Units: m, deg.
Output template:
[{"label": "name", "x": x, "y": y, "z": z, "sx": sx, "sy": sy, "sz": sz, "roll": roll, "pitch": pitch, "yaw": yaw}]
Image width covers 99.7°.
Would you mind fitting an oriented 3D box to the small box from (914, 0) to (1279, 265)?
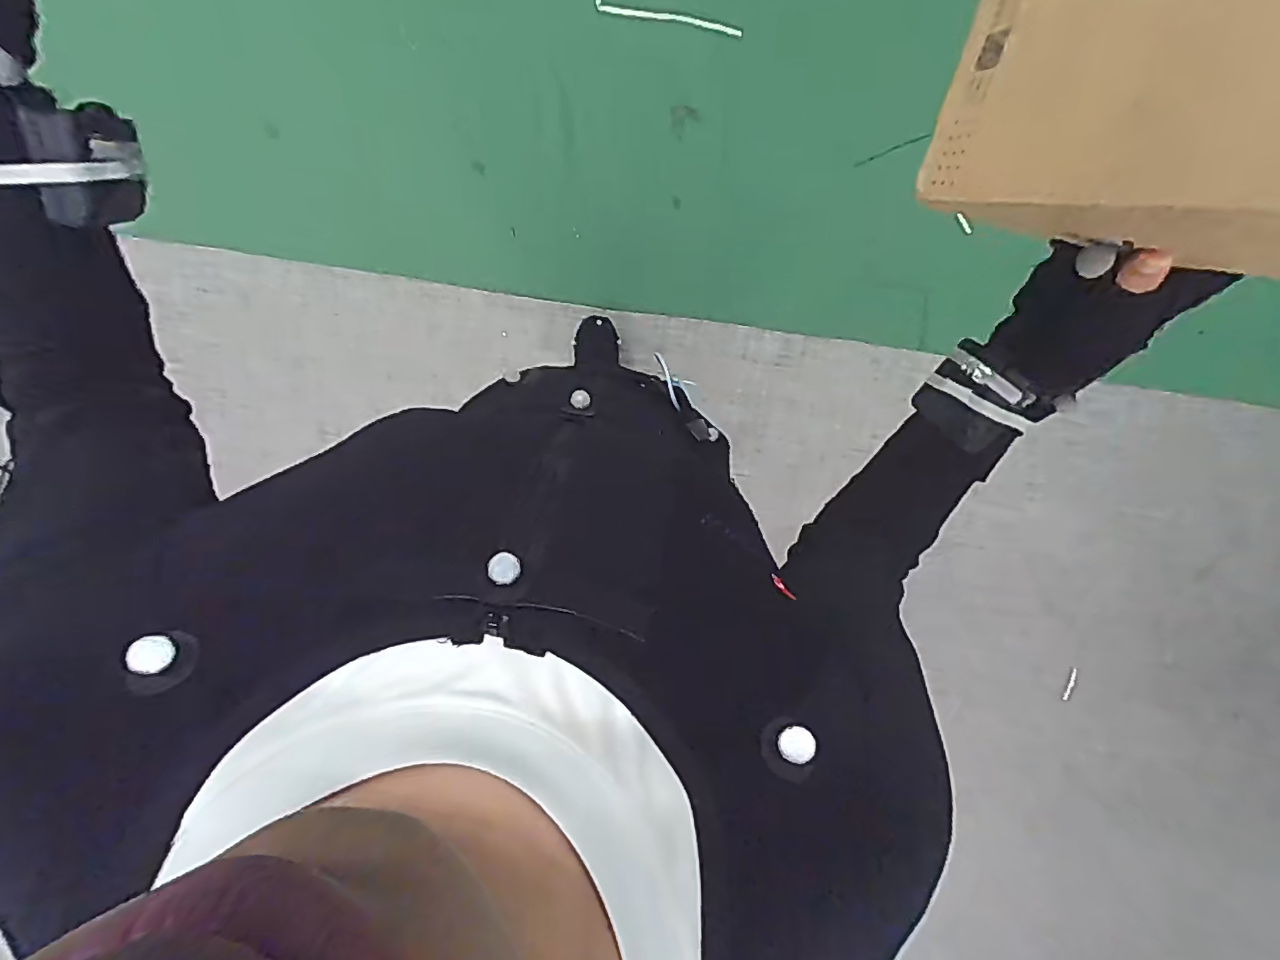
[{"label": "small box", "x": 0.248, "y": -0.176, "z": 0.194, "sx": 0.179, "sy": 0.176, "sz": 0.168, "roll": 4, "pitch": 117, "yaw": -15}]
